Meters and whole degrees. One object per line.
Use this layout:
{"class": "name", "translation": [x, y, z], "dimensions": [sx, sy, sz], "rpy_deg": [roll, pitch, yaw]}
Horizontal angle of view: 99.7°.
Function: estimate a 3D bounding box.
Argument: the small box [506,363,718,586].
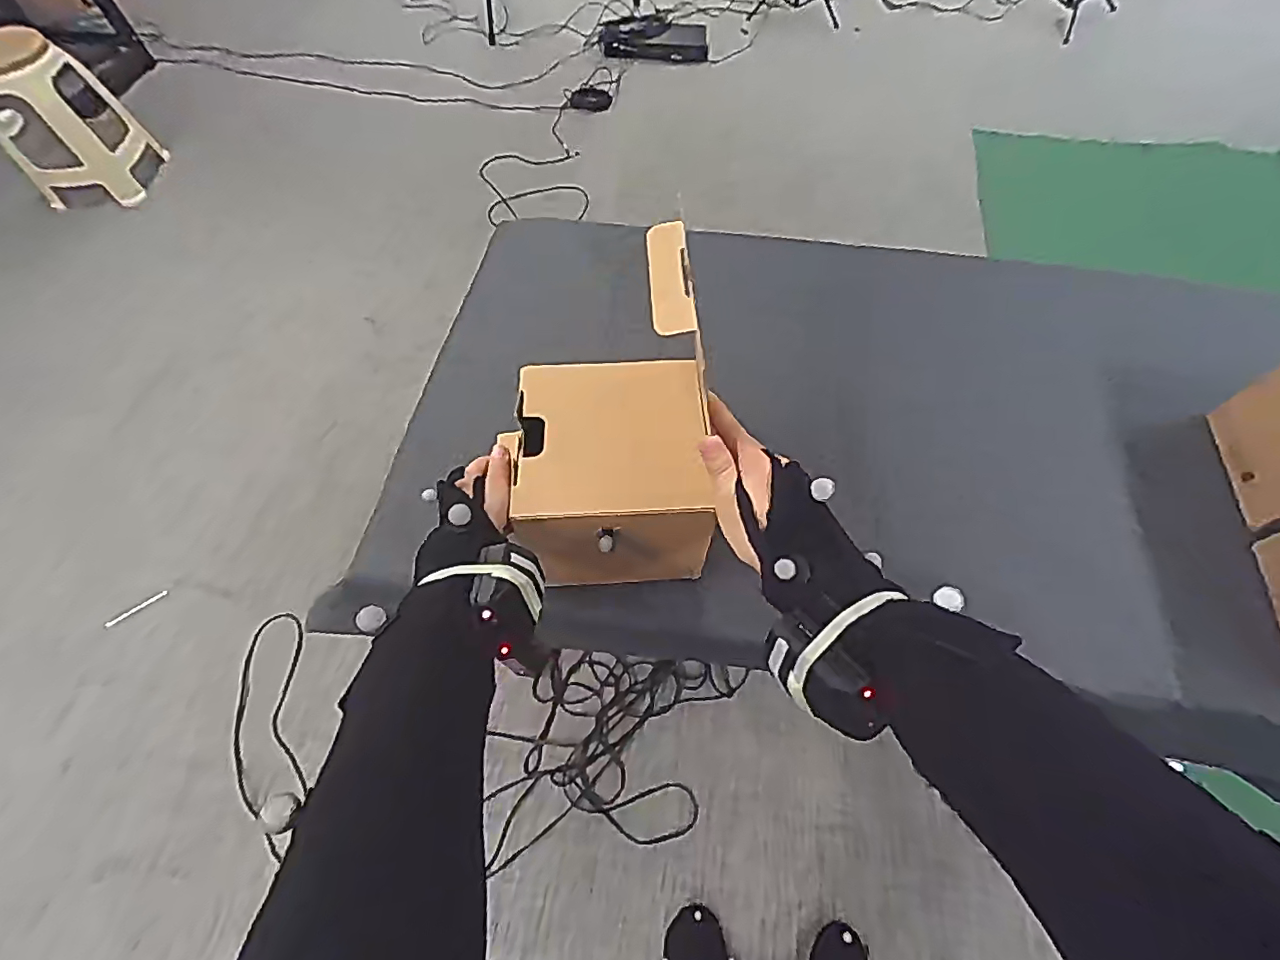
{"class": "small box", "translation": [-0.025, 0.002, 0.547], "dimensions": [0.179, 0.176, 0.168], "rpy_deg": [-3, 60, 0]}
